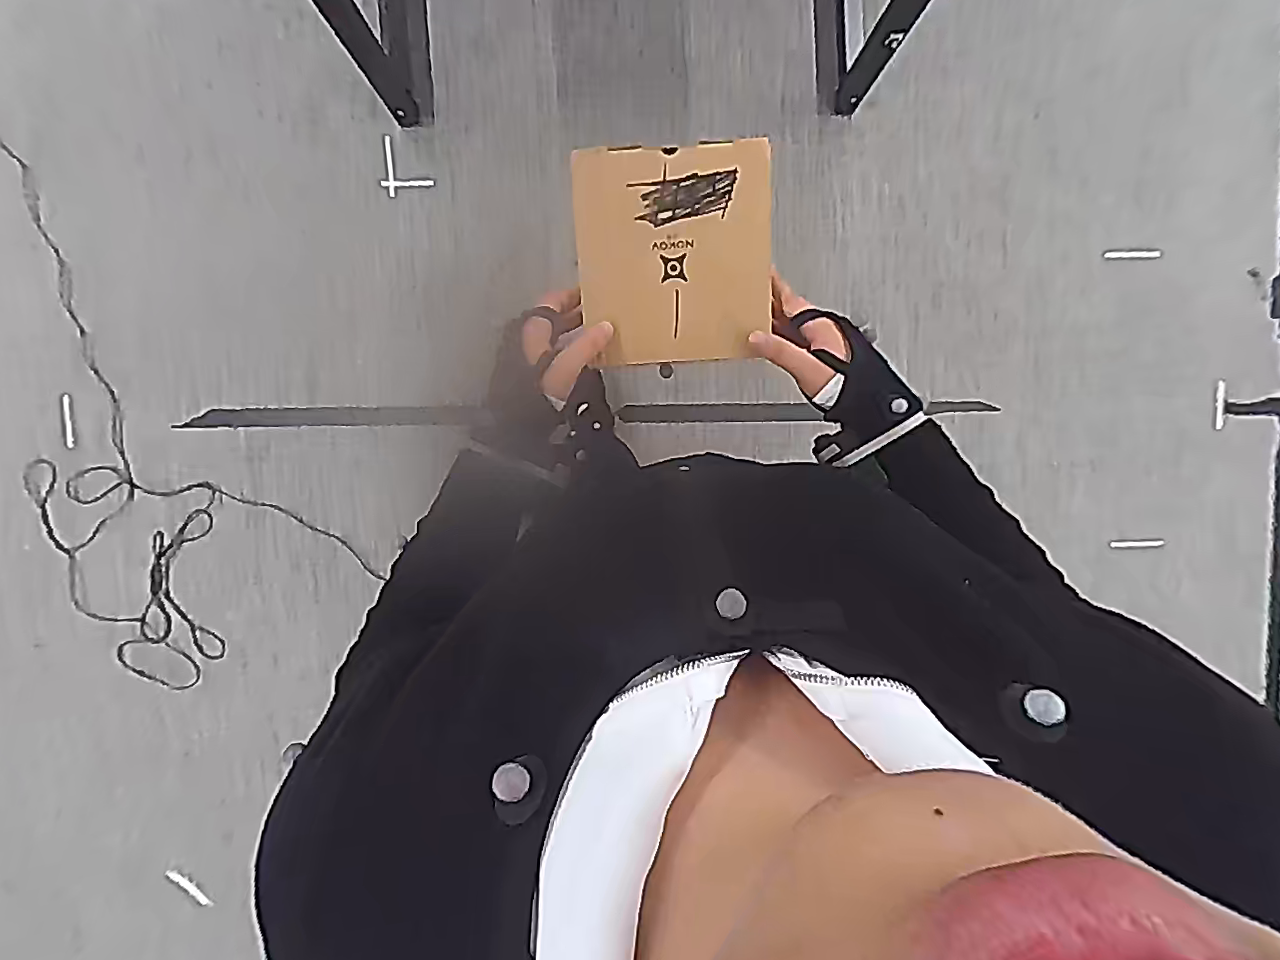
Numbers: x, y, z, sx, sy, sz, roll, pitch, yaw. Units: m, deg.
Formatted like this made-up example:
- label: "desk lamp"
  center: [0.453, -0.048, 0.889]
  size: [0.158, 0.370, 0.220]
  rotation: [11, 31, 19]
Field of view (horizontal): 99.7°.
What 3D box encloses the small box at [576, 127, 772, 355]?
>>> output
- label: "small box"
  center: [0.030, -0.218, 0.538]
  size: [0.168, 0.176, 0.179]
  rotation: [-3, 103, 1]
